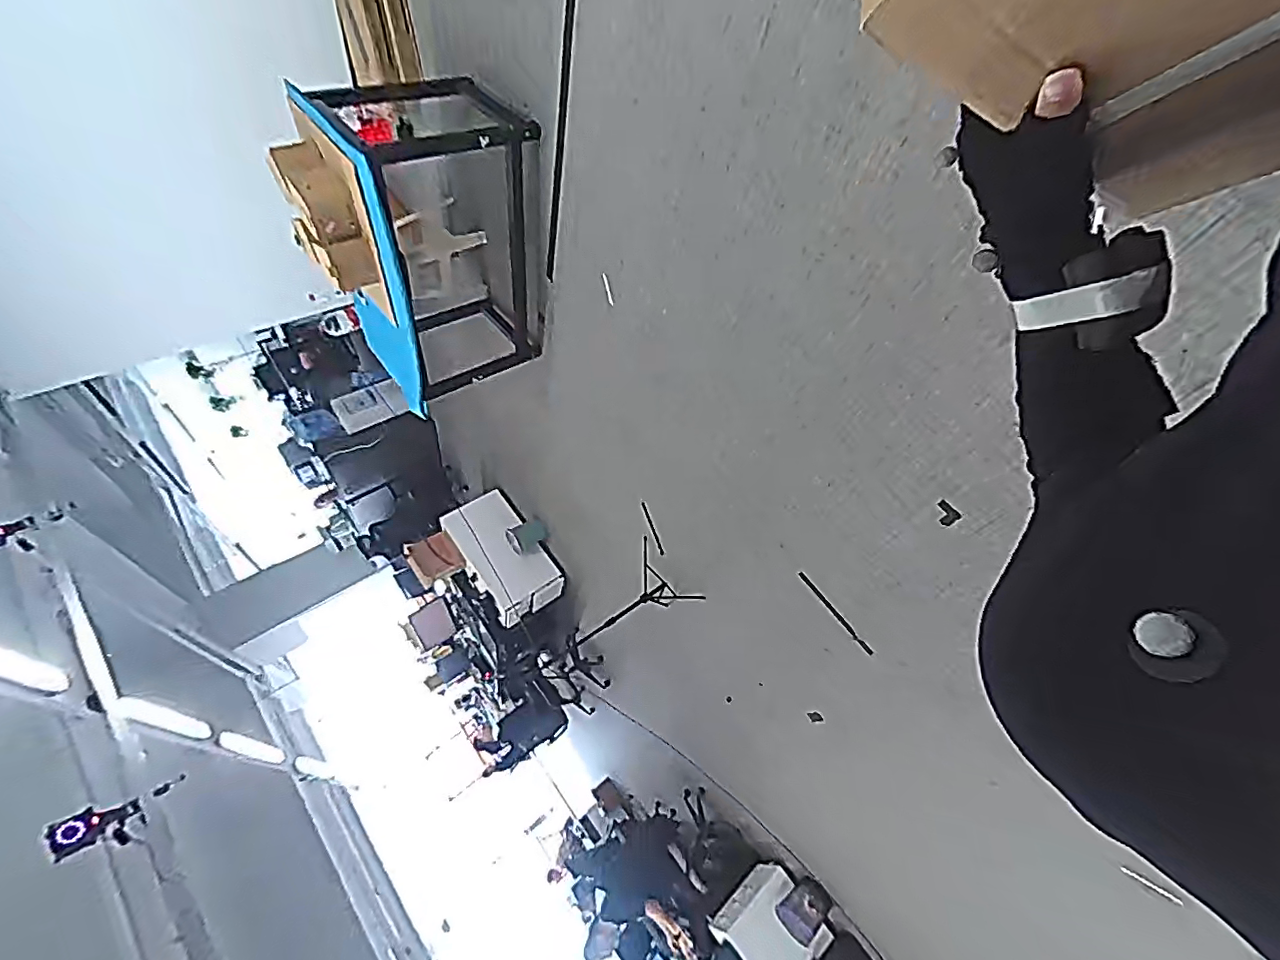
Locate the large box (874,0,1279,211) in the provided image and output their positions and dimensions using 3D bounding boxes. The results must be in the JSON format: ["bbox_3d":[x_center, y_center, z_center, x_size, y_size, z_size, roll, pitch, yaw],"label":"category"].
[{"bbox_3d":[0.343,-0.368,0.171,0.408,0.320,0.320,-3,84,60],"label":"large box"}]
